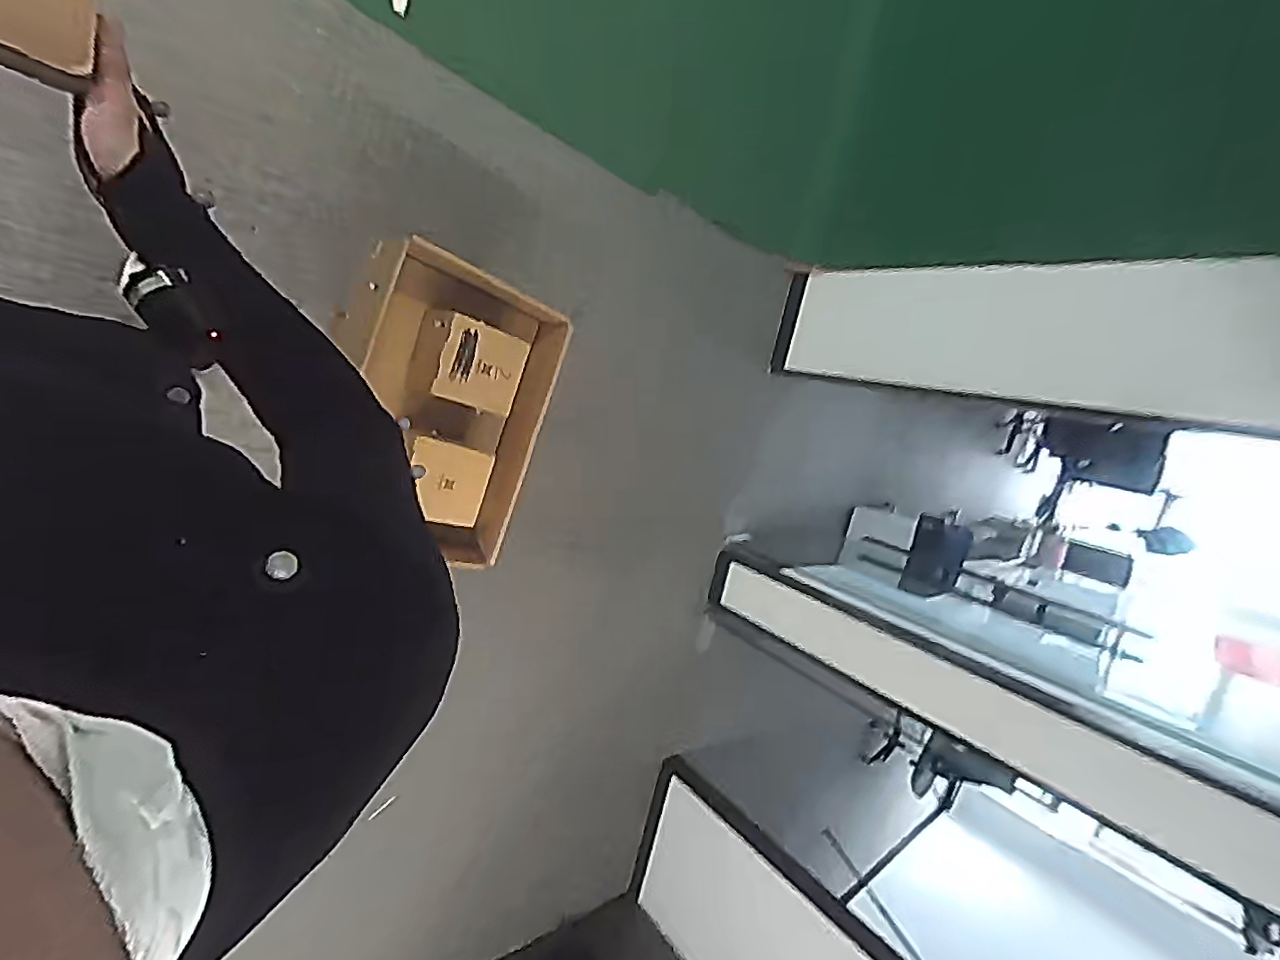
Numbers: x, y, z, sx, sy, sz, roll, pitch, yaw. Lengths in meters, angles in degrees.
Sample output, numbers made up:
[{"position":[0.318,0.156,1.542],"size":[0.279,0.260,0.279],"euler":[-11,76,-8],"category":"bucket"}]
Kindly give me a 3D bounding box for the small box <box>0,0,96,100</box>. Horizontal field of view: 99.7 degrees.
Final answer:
[{"position":[-0.476,-0.385,0.351],"size":[0.168,0.176,0.179],"euler":[3,111,-51],"category":"small box"}]

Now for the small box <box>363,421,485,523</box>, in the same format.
[{"position":[-0.477,-0.021,1.187],"size":[0.179,0.176,0.168],"euler":[17,94,-44],"category":"small box"}]
